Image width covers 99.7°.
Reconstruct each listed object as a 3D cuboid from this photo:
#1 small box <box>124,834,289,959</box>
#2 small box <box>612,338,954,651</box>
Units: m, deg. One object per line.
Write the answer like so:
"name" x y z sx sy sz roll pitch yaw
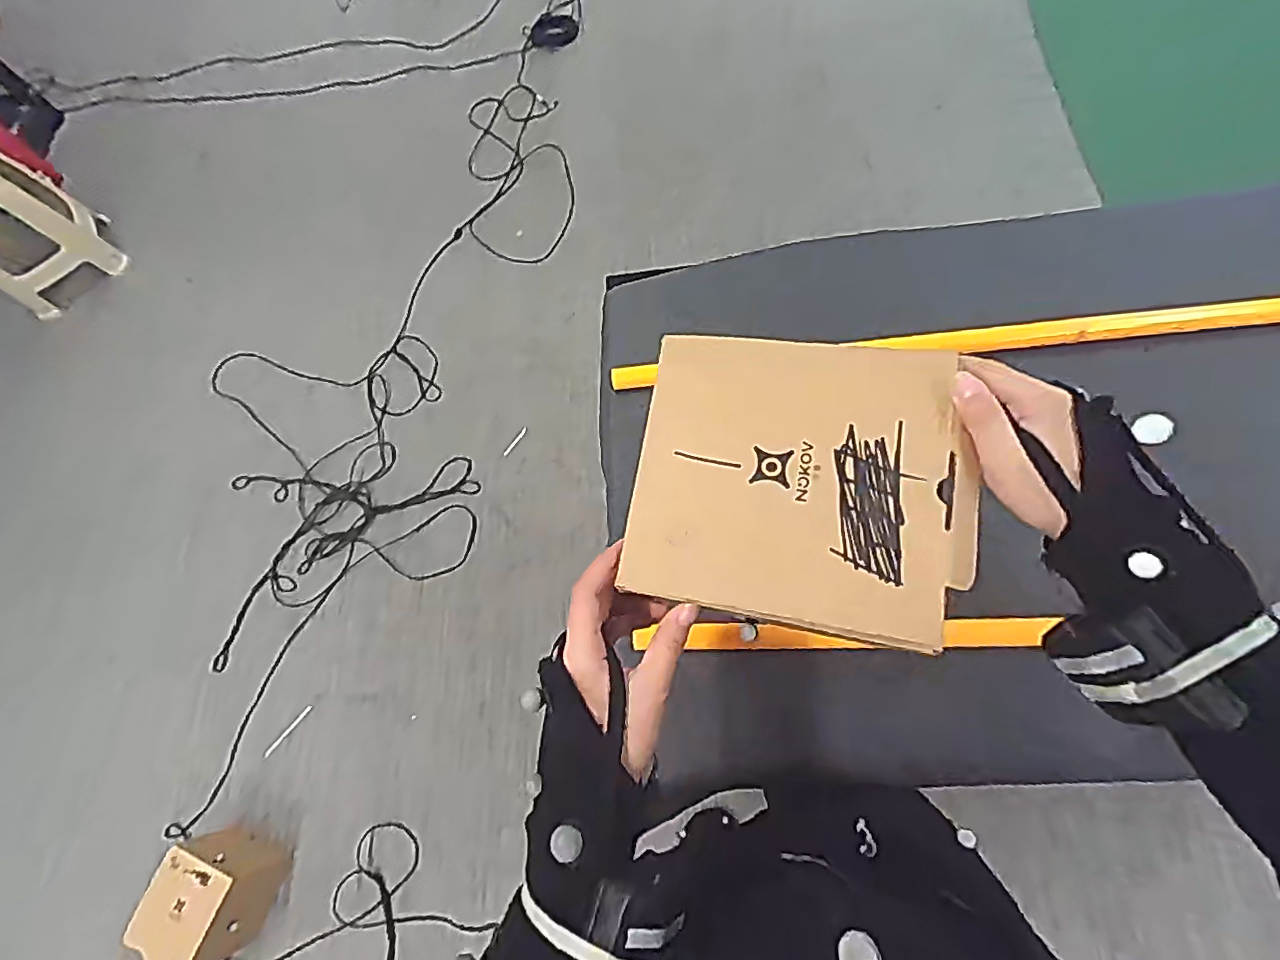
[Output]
"small box" -0.878 0.875 1.116 0.168 0.176 0.179 16 72 15
"small box" 0.098 0.018 0.388 0.179 0.176 0.168 8 76 15
